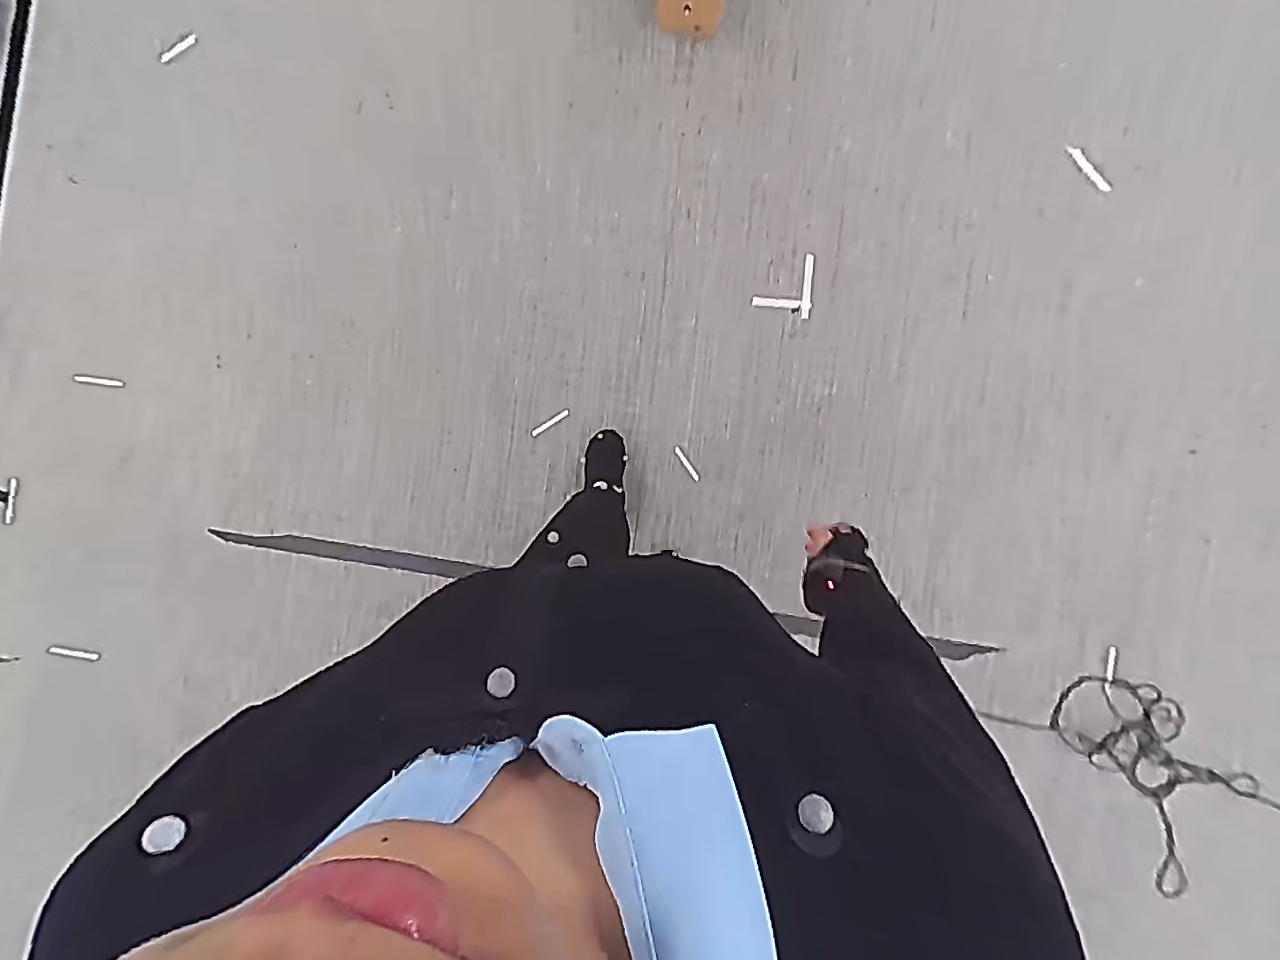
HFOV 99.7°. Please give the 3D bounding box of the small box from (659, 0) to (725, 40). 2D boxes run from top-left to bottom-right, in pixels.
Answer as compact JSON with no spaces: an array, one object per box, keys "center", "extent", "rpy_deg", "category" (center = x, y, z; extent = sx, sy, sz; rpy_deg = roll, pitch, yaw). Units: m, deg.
[{"center":[0.146,-1.321,1.431],"extent":[0.168,0.176,0.179],"rpy_deg":[10,89,3],"category":"small box"}]
